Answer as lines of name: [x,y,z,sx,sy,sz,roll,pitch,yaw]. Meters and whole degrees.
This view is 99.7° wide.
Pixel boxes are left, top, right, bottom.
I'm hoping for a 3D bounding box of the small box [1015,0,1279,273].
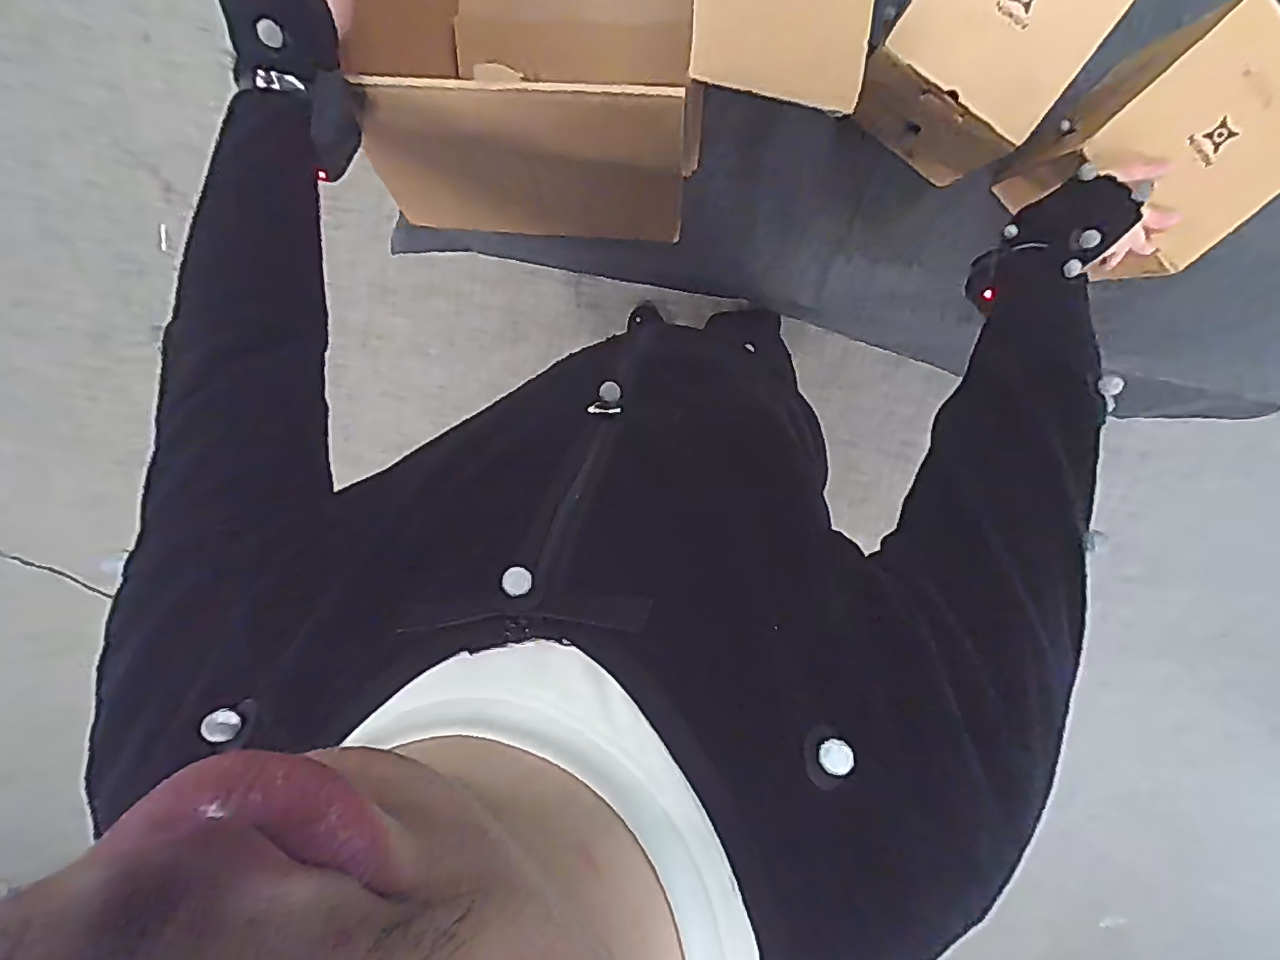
small box: [0.549,-0.343,0.577,0.168,0.176,0.179,42,107,-9]
